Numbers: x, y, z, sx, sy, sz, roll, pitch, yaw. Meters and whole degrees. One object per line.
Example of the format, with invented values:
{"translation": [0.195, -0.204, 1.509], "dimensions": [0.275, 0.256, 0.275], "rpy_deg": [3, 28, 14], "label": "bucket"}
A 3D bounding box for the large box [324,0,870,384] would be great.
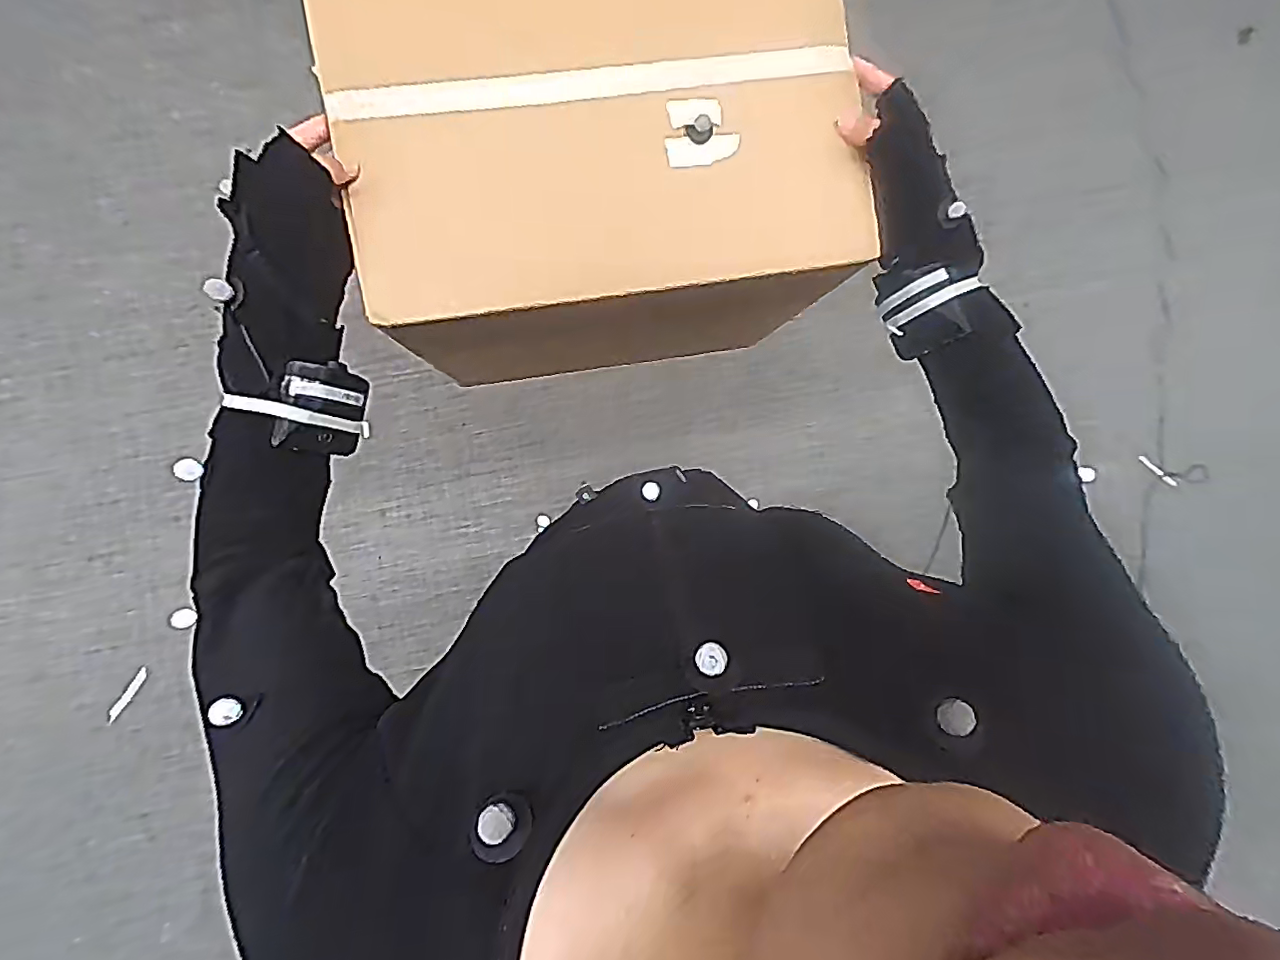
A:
{"translation": [-0.045, -0.308, 0.574], "dimensions": [0.408, 0.320, 0.320], "rpy_deg": [-10, 93, -7], "label": "large box"}
